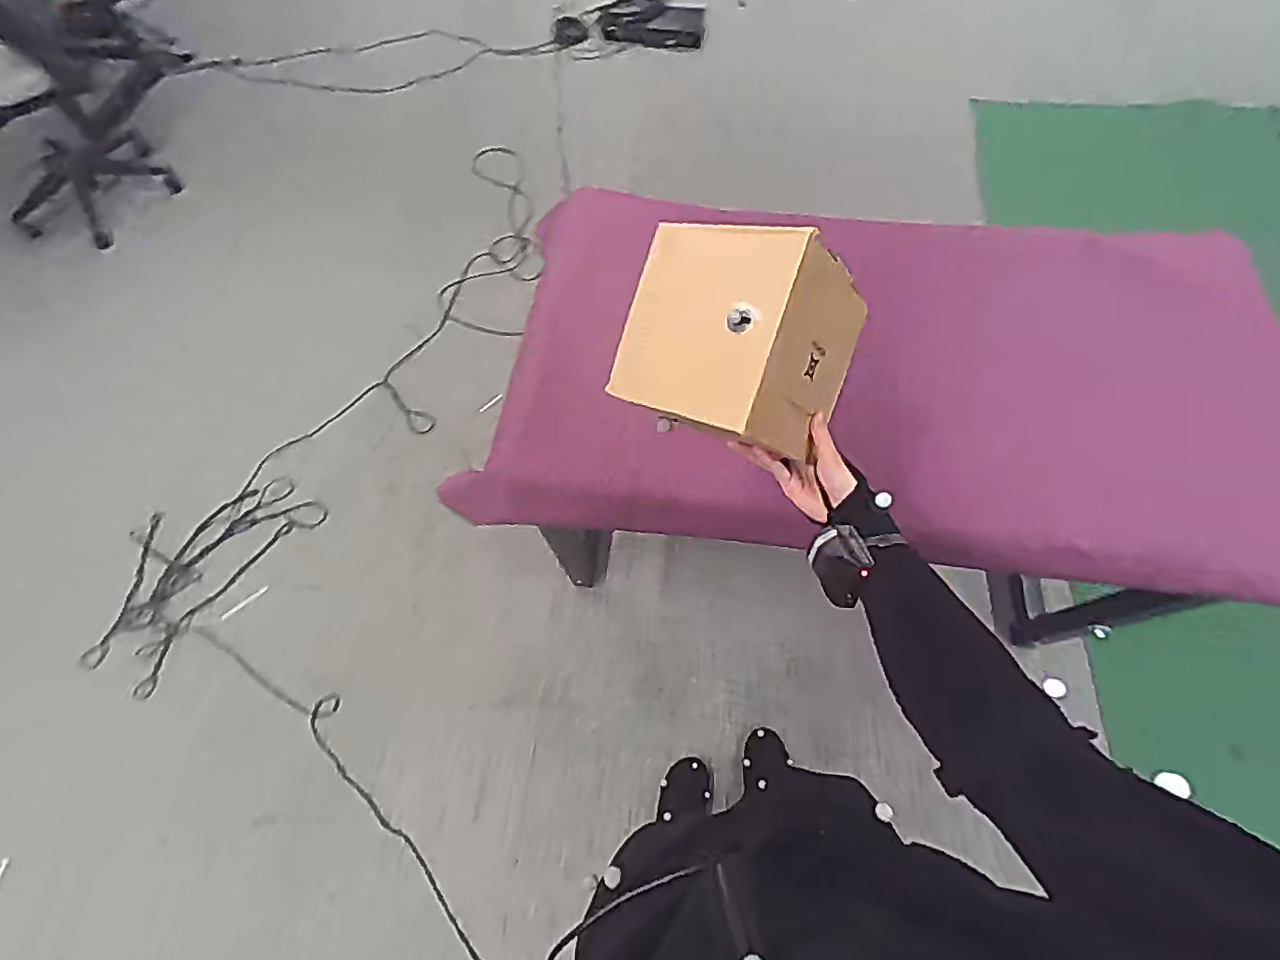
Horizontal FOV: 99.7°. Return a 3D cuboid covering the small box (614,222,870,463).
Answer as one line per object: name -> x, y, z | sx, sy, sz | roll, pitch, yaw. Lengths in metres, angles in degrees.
small box -> 0.099, -0.134, 0.534 | 0.176, 0.168, 0.179 | 23, 96, 35
